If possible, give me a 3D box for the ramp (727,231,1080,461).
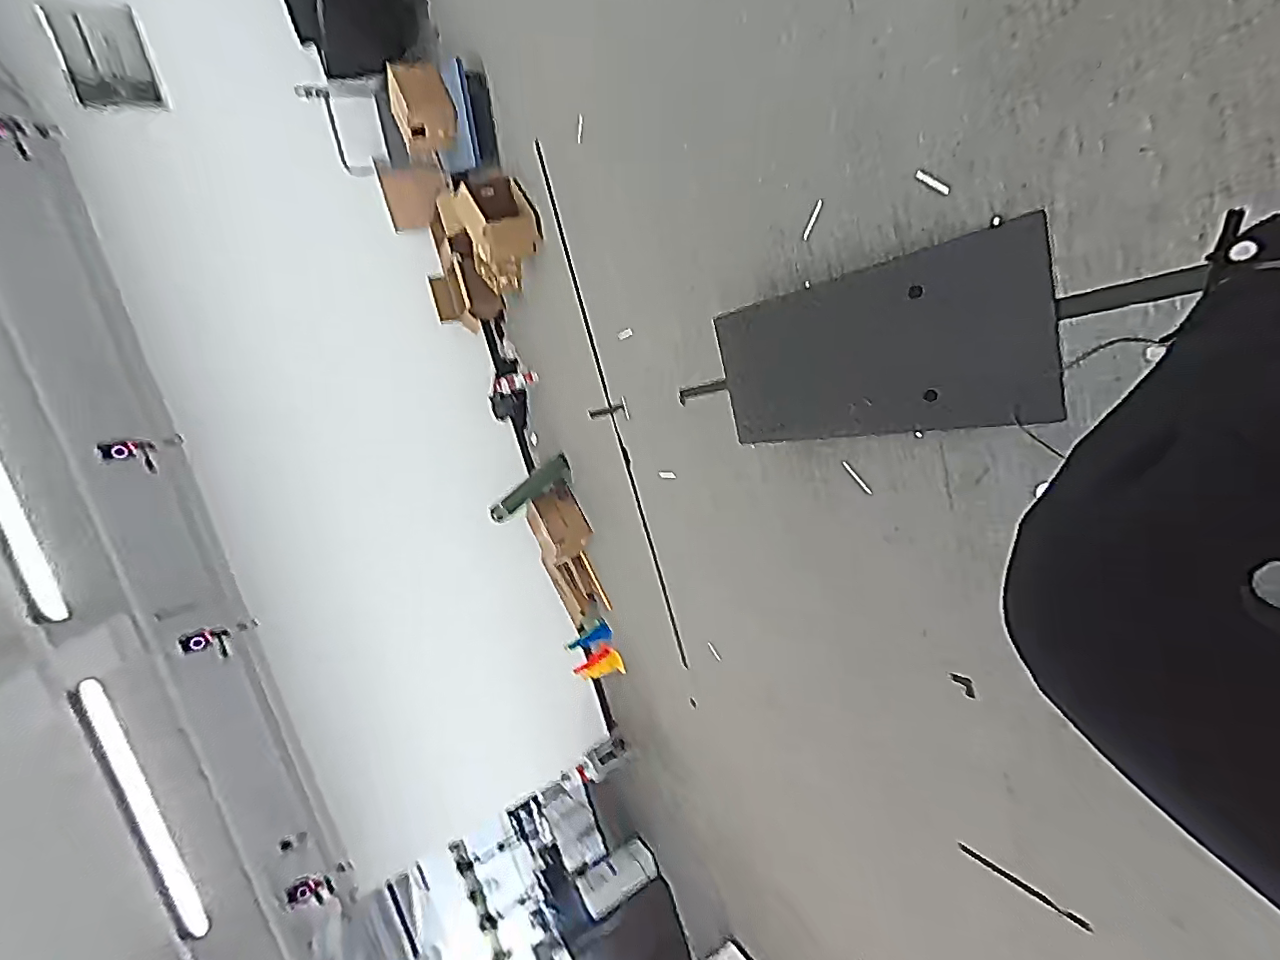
[{"bbox_3d":[0.685,-0.322,1.638,0.991,0.206,0.509,-1,105,62],"label":"ramp"}]
